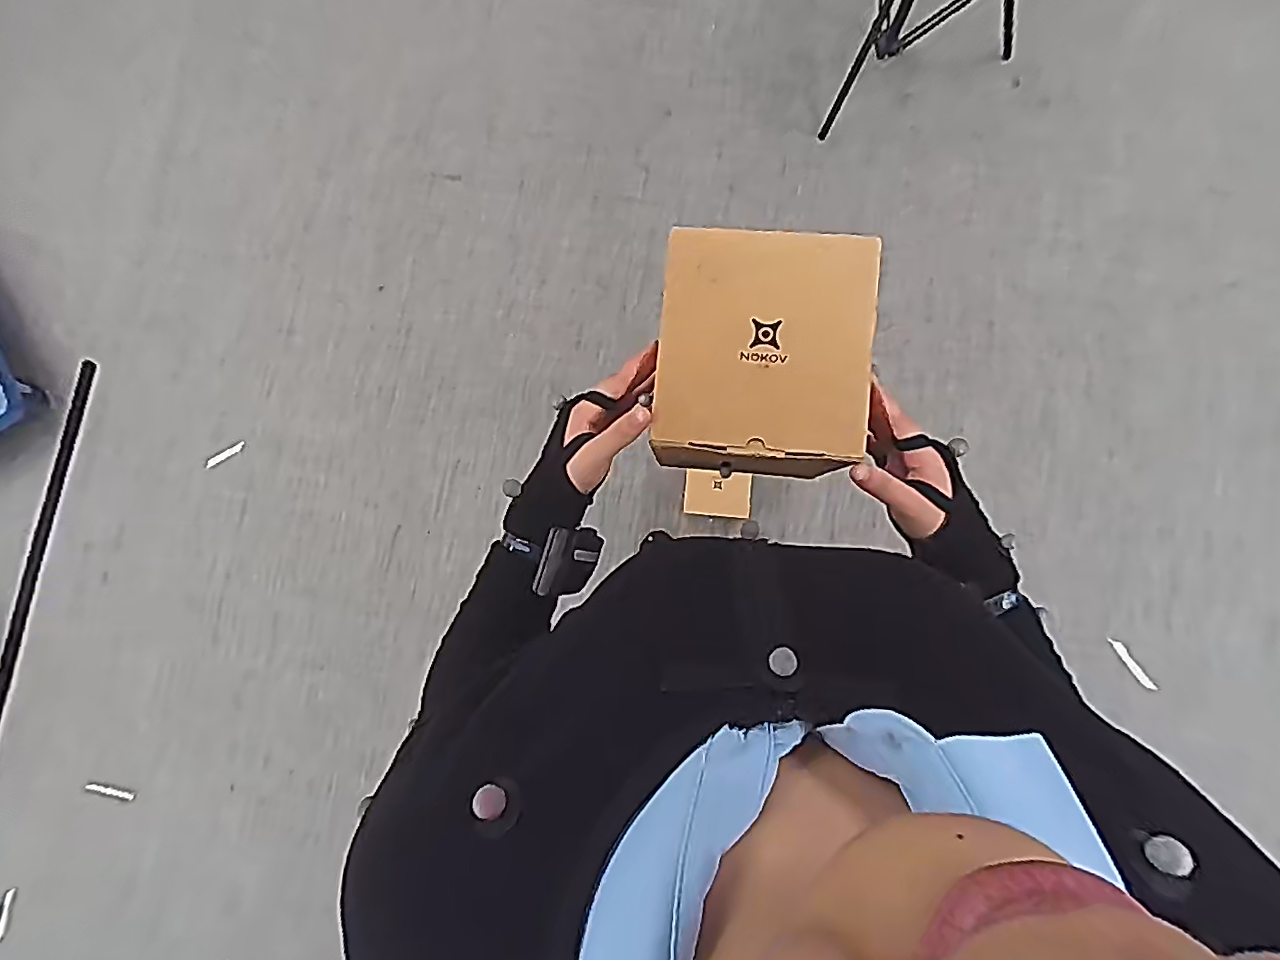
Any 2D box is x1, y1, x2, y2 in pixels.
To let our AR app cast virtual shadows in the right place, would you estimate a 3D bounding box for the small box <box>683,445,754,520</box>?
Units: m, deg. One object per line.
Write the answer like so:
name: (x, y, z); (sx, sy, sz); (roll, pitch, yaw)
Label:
small box: (0.204, 0.013, 1.437); (0.168, 0.176, 0.179); (6, 84, 4)
